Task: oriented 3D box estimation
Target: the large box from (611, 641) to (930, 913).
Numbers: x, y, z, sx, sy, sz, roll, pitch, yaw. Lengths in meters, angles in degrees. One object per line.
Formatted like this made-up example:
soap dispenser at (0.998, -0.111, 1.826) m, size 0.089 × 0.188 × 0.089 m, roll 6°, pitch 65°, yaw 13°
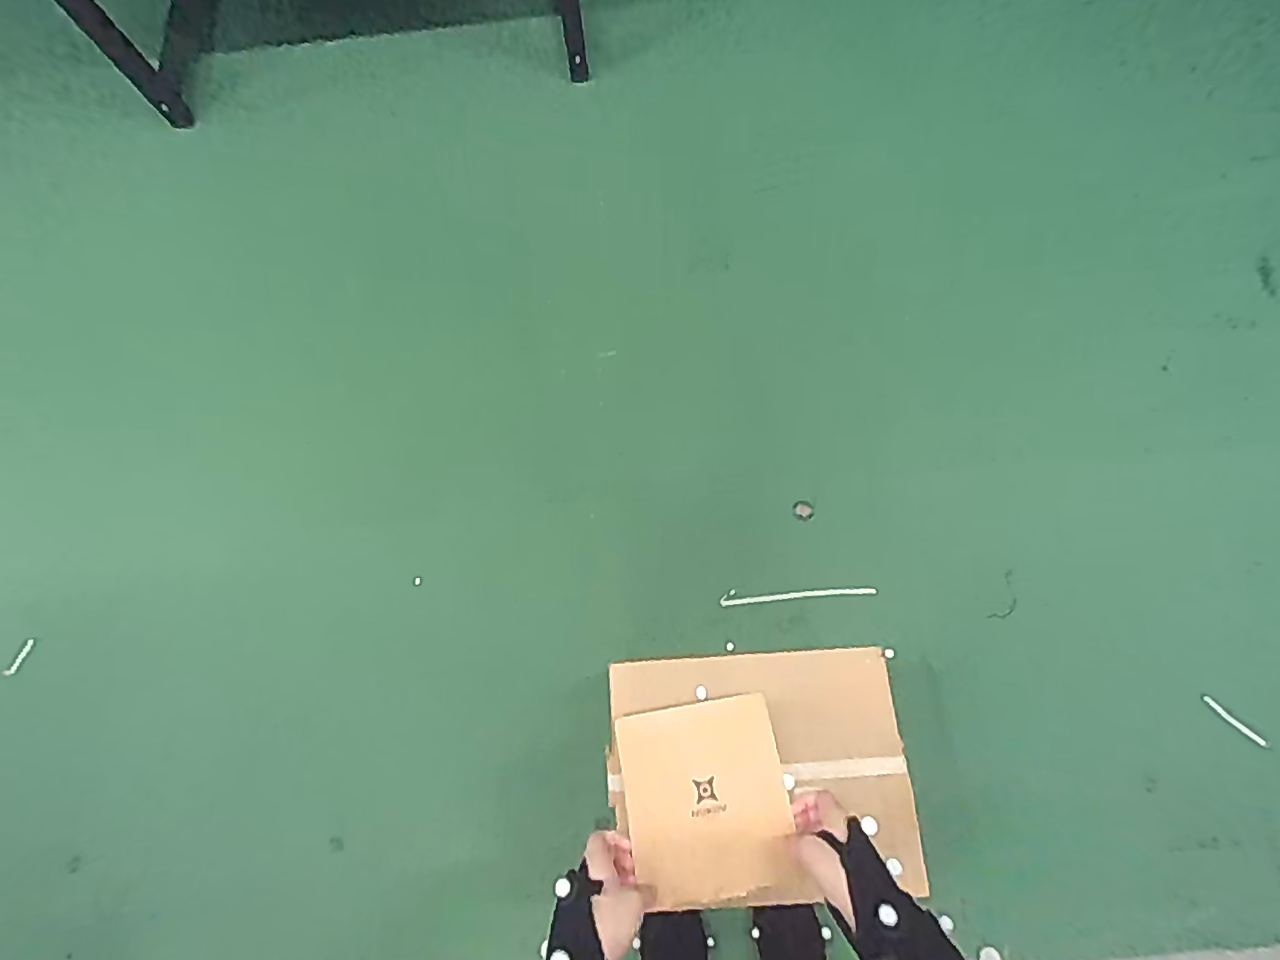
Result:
large box at (0.170, 0.443, 0.882) m, size 0.408 × 0.320 × 0.320 m, roll -4°, pitch 73°, yaw 1°

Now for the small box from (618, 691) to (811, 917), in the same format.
small box at (0.069, 0.343, 0.610) m, size 0.168 × 0.176 × 0.179 m, roll -10°, pitch 70°, yaw -2°
